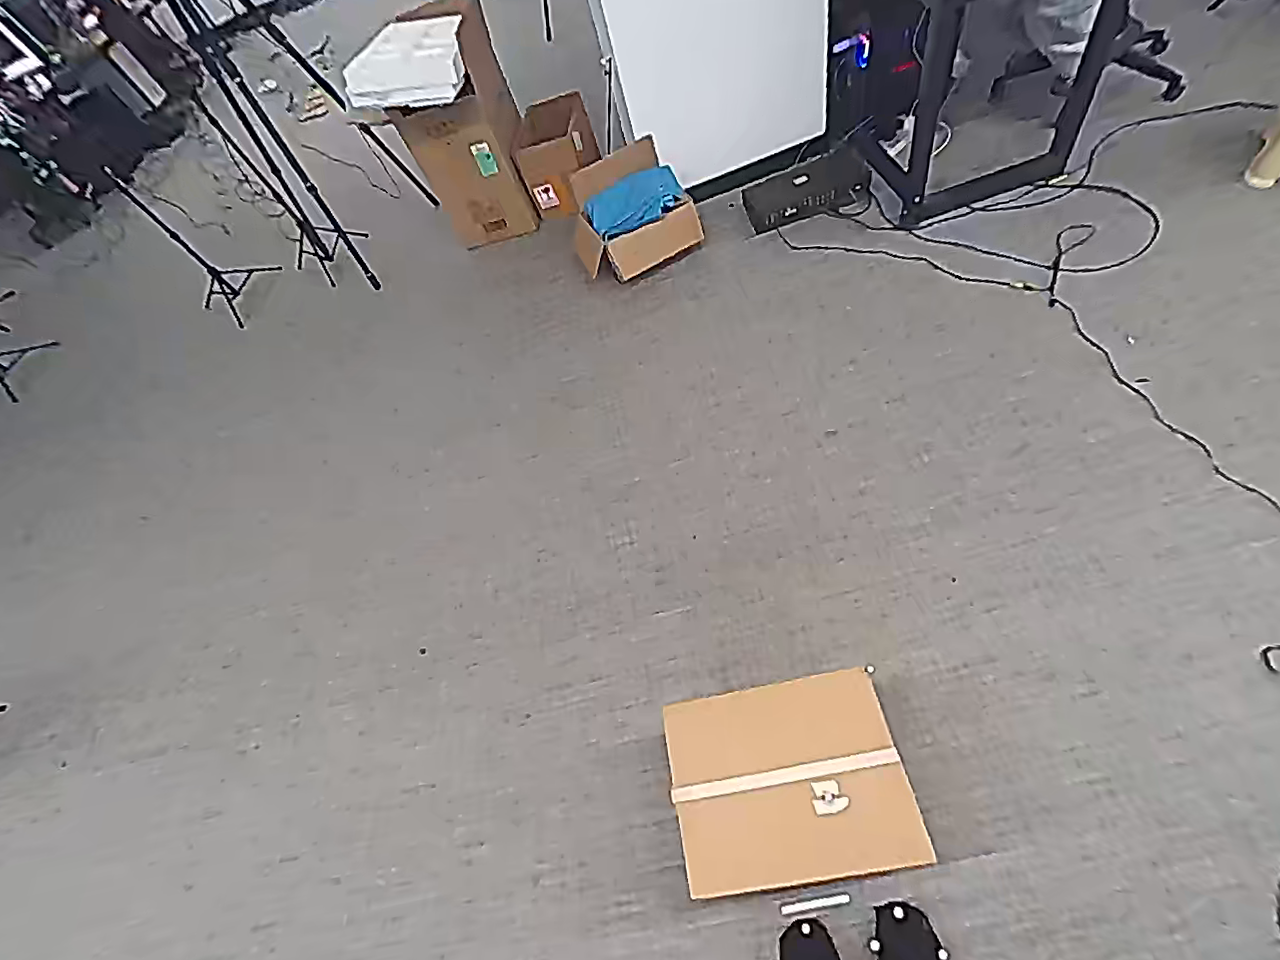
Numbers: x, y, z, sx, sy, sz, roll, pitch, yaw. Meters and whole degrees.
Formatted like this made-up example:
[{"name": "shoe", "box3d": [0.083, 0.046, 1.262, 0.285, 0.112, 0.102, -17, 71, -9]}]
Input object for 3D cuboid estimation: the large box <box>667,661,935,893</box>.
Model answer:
[{"name": "large box", "box3d": [0.301, 0.602, 1.096, 0.408, 0.320, 0.320, -15, 56, 7]}]
